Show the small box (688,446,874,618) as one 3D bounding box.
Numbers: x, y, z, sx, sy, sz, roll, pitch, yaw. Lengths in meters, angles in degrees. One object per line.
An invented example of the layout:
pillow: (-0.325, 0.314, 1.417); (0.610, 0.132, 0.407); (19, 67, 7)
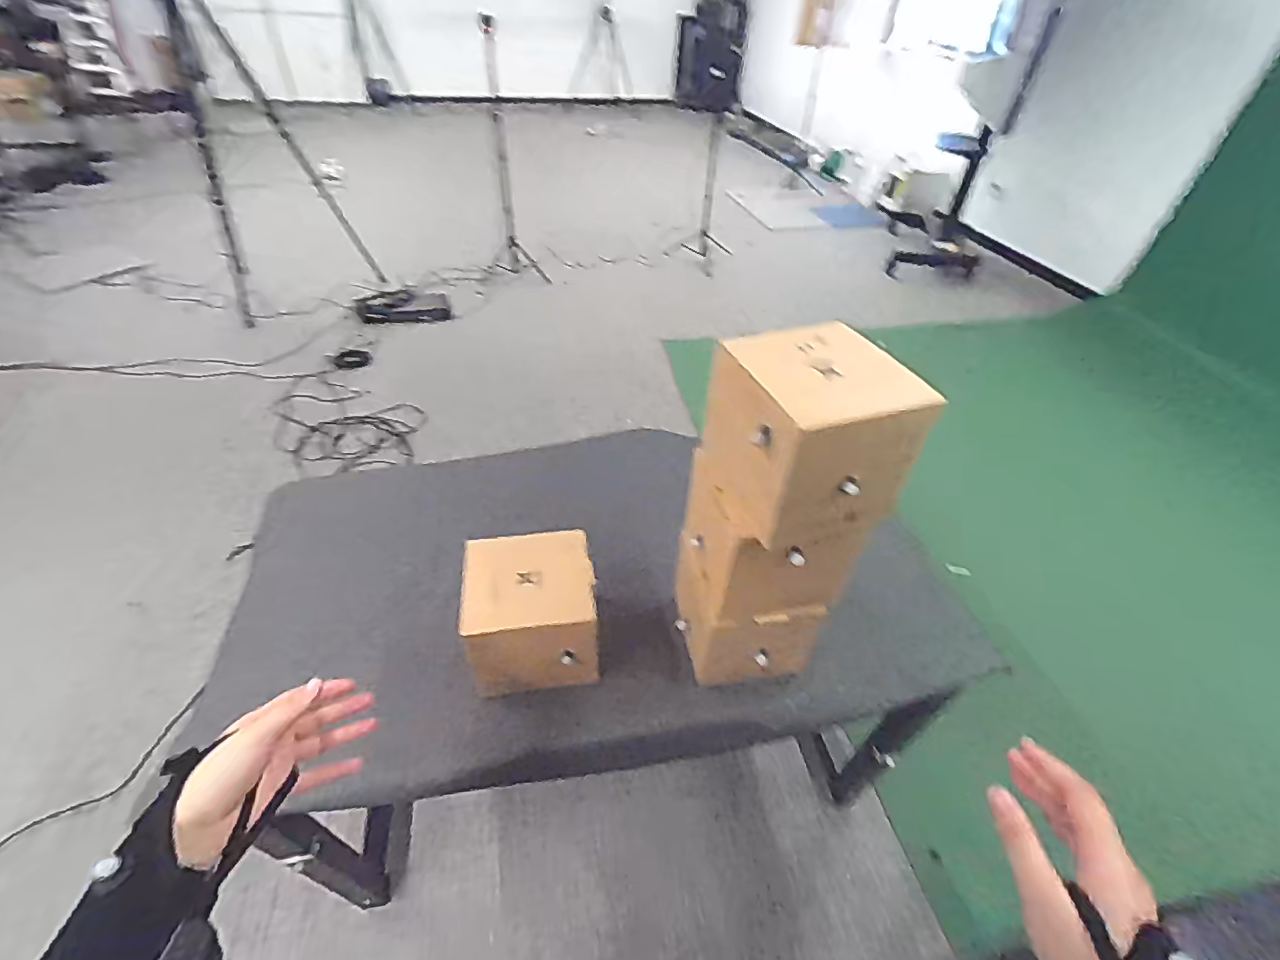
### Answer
small box: (0.172, 0.061, 0.724); (0.179, 0.176, 0.168); (-7, 43, -9)

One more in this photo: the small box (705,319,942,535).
small box: (0.185, -0.056, 0.608); (0.168, 0.176, 0.179); (-13, 44, -15)

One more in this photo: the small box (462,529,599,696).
small box: (-0.156, 0.197, 0.805); (0.179, 0.176, 0.168); (-6, 42, -8)
